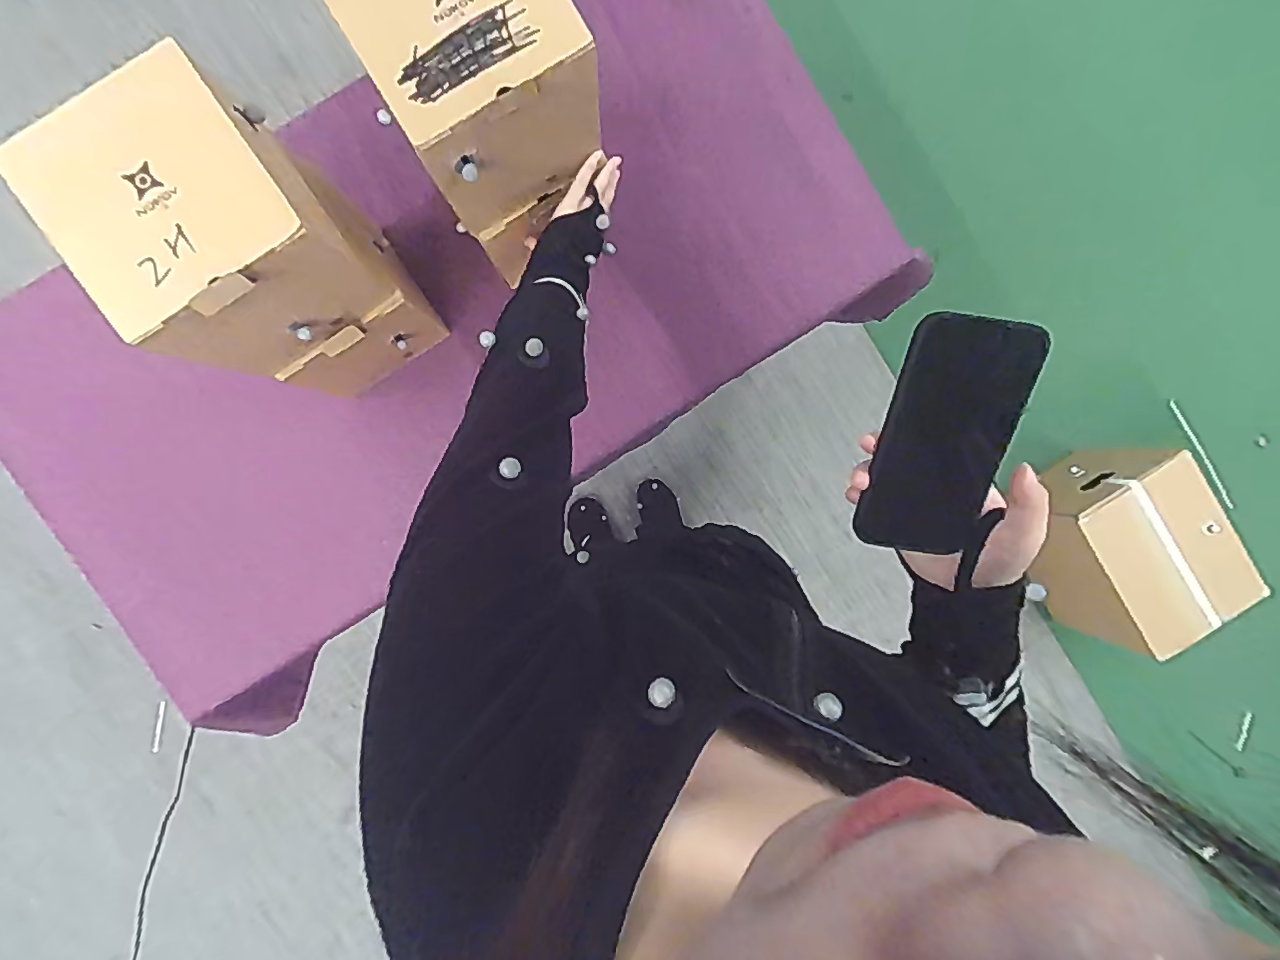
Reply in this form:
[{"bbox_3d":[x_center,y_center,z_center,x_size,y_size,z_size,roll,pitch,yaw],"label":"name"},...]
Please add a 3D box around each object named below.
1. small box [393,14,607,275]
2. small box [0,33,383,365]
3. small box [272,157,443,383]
[{"bbox_3d":[-0.154,-0.386,0.658,0.168,0.176,0.179,-33,94,0],"label":"small box"},{"bbox_3d":[-0.379,-0.228,0.492,0.168,0.176,0.179,-34,93,-1],"label":"small box"},{"bbox_3d":[-0.372,-0.233,0.657,0.168,0.176,0.179,-33,93,-1],"label":"small box"}]
